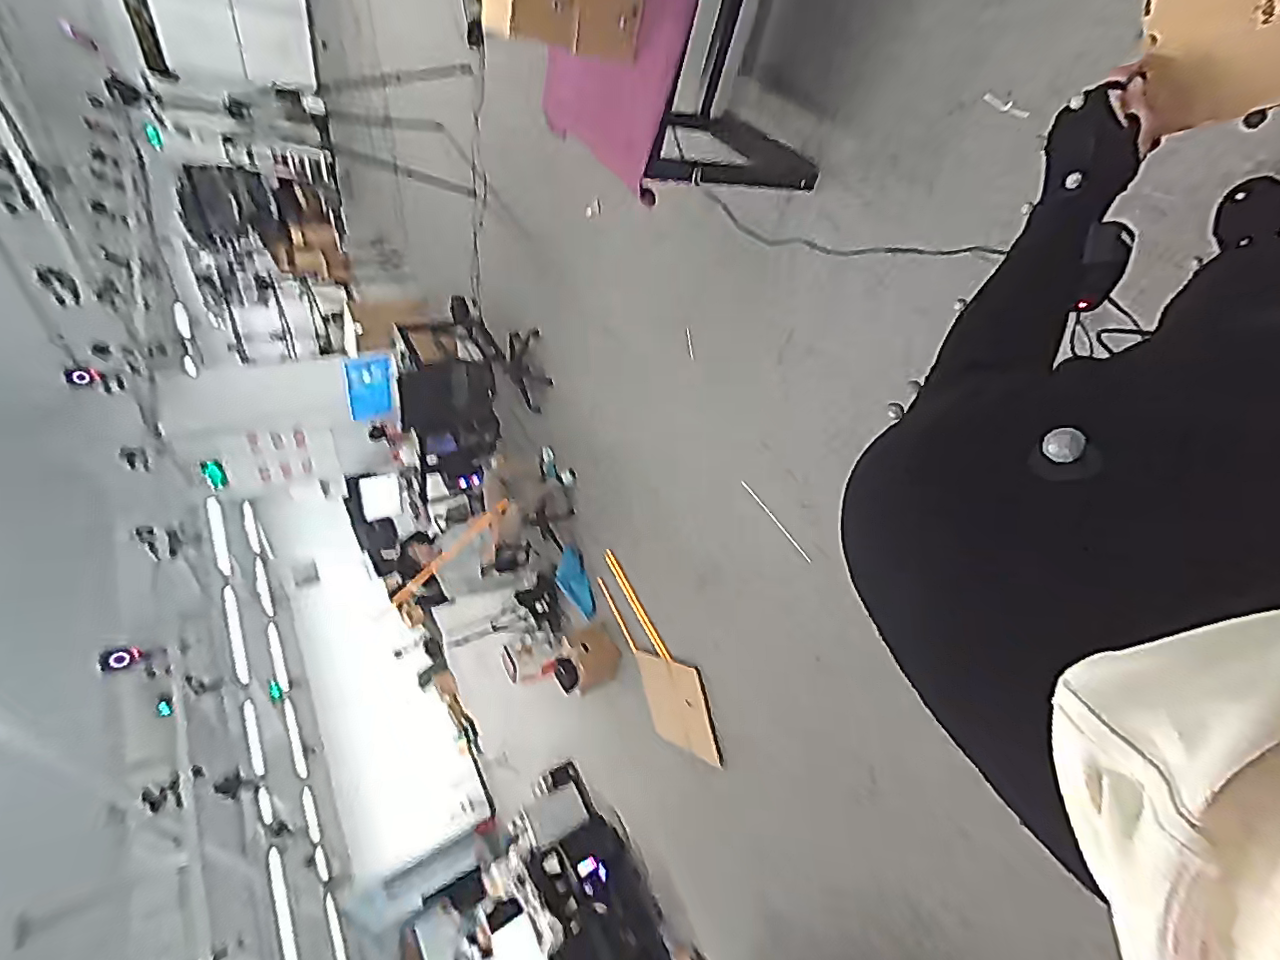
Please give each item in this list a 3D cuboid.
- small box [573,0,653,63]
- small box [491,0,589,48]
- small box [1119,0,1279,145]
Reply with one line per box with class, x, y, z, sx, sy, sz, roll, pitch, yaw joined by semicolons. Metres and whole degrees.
small box;-0.092;-1.154;1.327;0.179;0.176;0.168;52;142;33
small box;-0.228;-1.123;1.243;0.179;0.176;0.168;50;140;34
small box;0.579;-0.426;0.492;0.179;0.176;0.168;12;122;52
